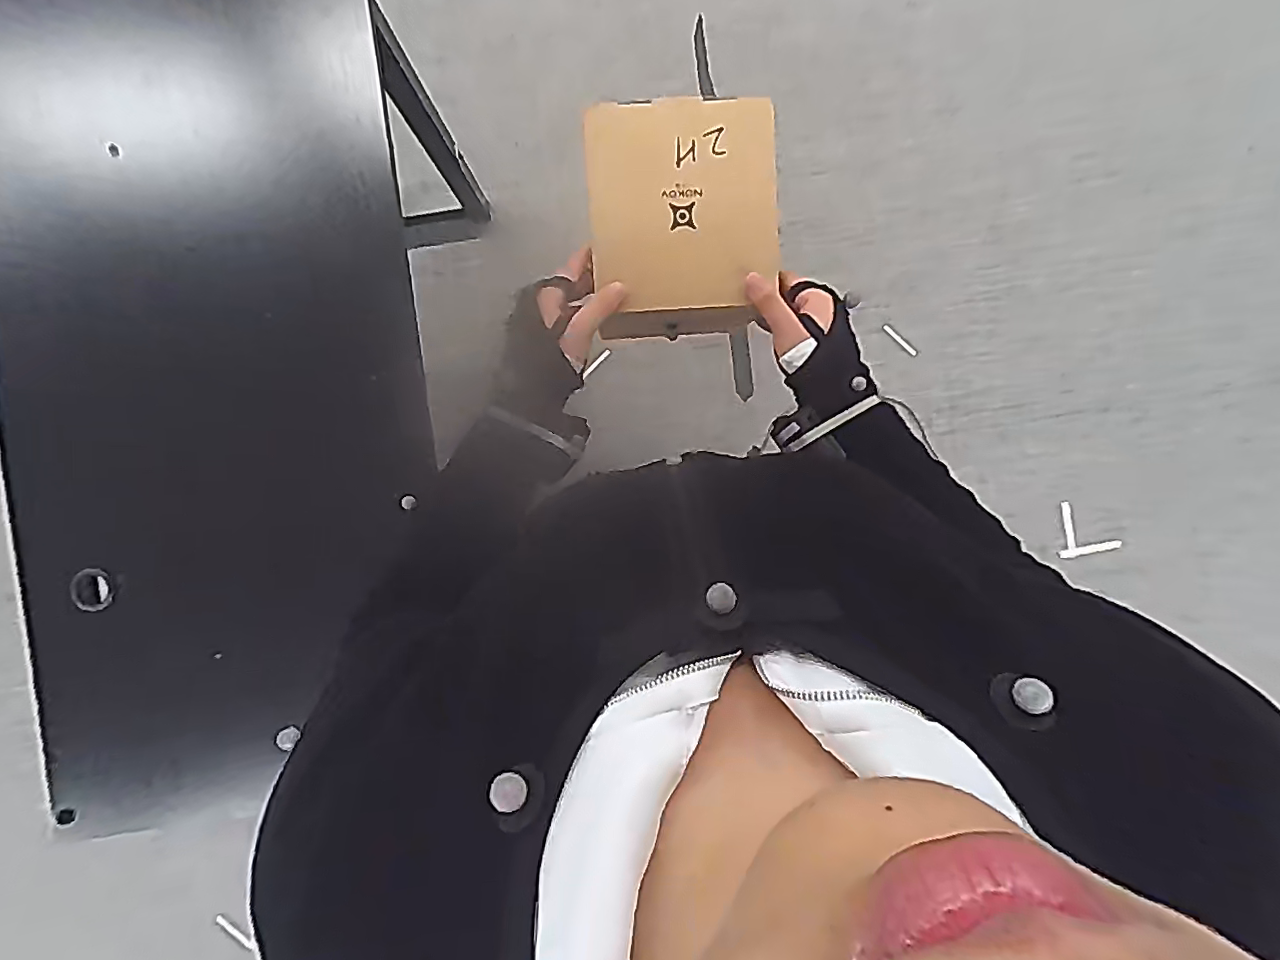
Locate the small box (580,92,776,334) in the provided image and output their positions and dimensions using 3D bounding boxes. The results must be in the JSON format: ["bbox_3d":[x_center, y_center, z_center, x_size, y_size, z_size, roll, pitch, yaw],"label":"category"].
[{"bbox_3d":[0.034,-0.248,0.548,0.168,0.176,0.179,-5,96,-2],"label":"small box"}]
